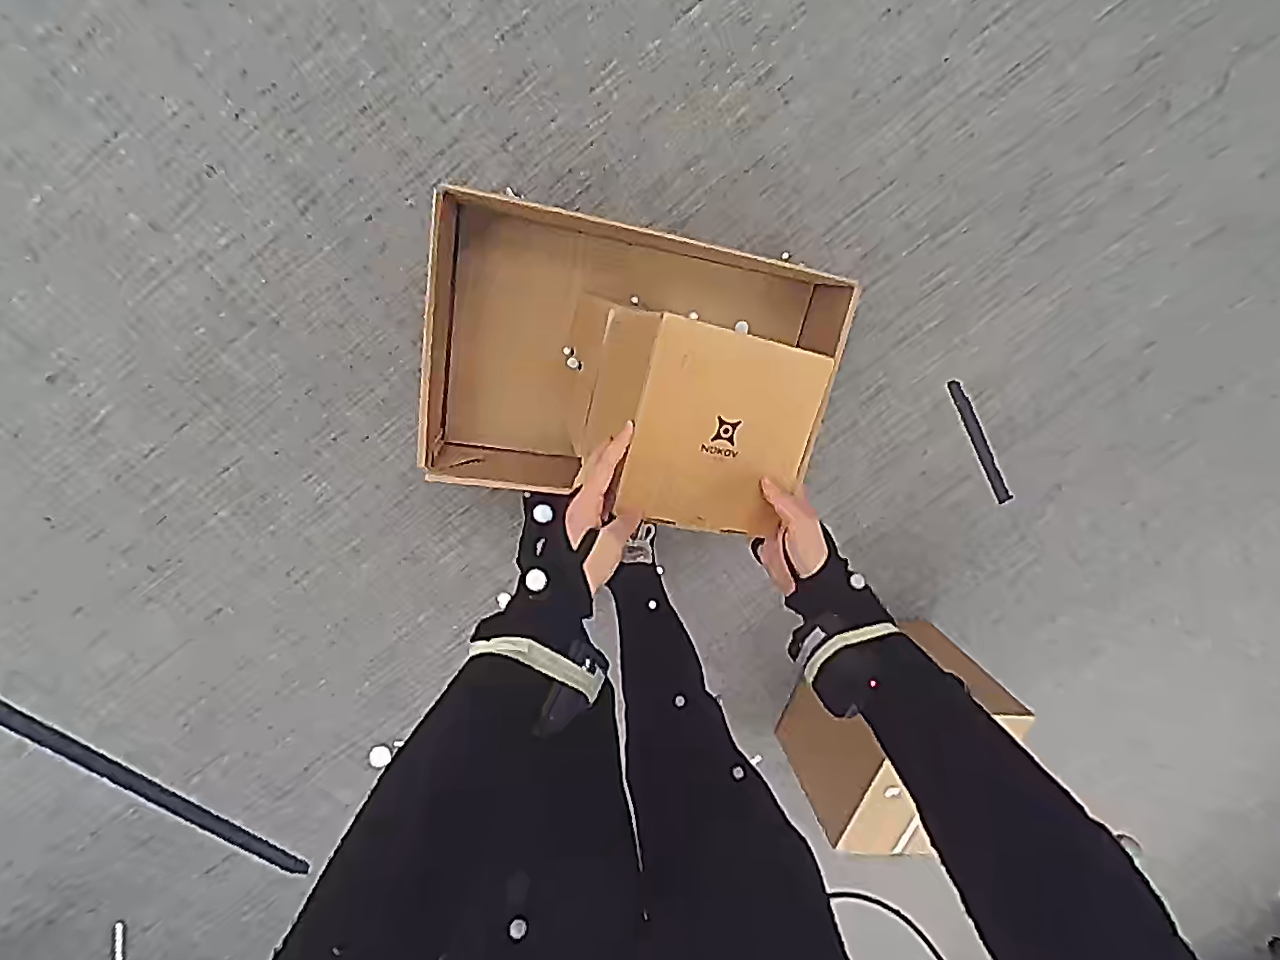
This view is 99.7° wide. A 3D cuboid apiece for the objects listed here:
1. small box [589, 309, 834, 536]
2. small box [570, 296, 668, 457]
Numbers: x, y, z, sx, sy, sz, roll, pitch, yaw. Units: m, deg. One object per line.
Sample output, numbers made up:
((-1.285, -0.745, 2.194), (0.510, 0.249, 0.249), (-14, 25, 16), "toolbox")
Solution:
((0.054, -0.065, 0.542), (0.168, 0.176, 0.179), (10, 105, -19), "small box")
((0.009, -0.125, 0.695), (0.168, 0.176, 0.179), (10, 109, -17), "small box")
